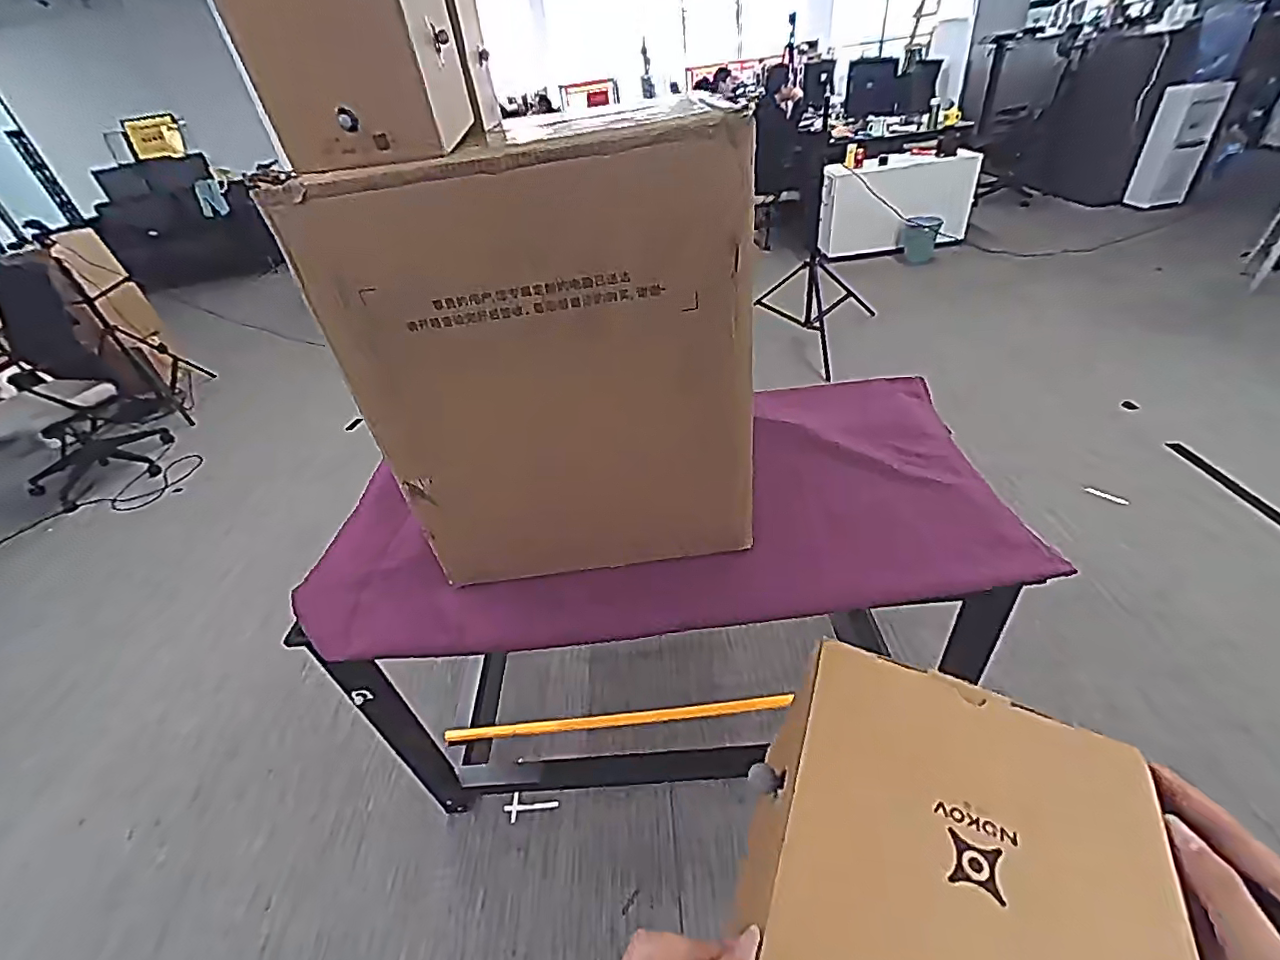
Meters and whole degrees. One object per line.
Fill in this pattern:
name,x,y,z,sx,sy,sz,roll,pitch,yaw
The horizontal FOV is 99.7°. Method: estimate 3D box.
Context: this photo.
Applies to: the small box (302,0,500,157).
small box,-0.297,-0.546,0.720,0.179,0.176,0.168,-7,37,1
